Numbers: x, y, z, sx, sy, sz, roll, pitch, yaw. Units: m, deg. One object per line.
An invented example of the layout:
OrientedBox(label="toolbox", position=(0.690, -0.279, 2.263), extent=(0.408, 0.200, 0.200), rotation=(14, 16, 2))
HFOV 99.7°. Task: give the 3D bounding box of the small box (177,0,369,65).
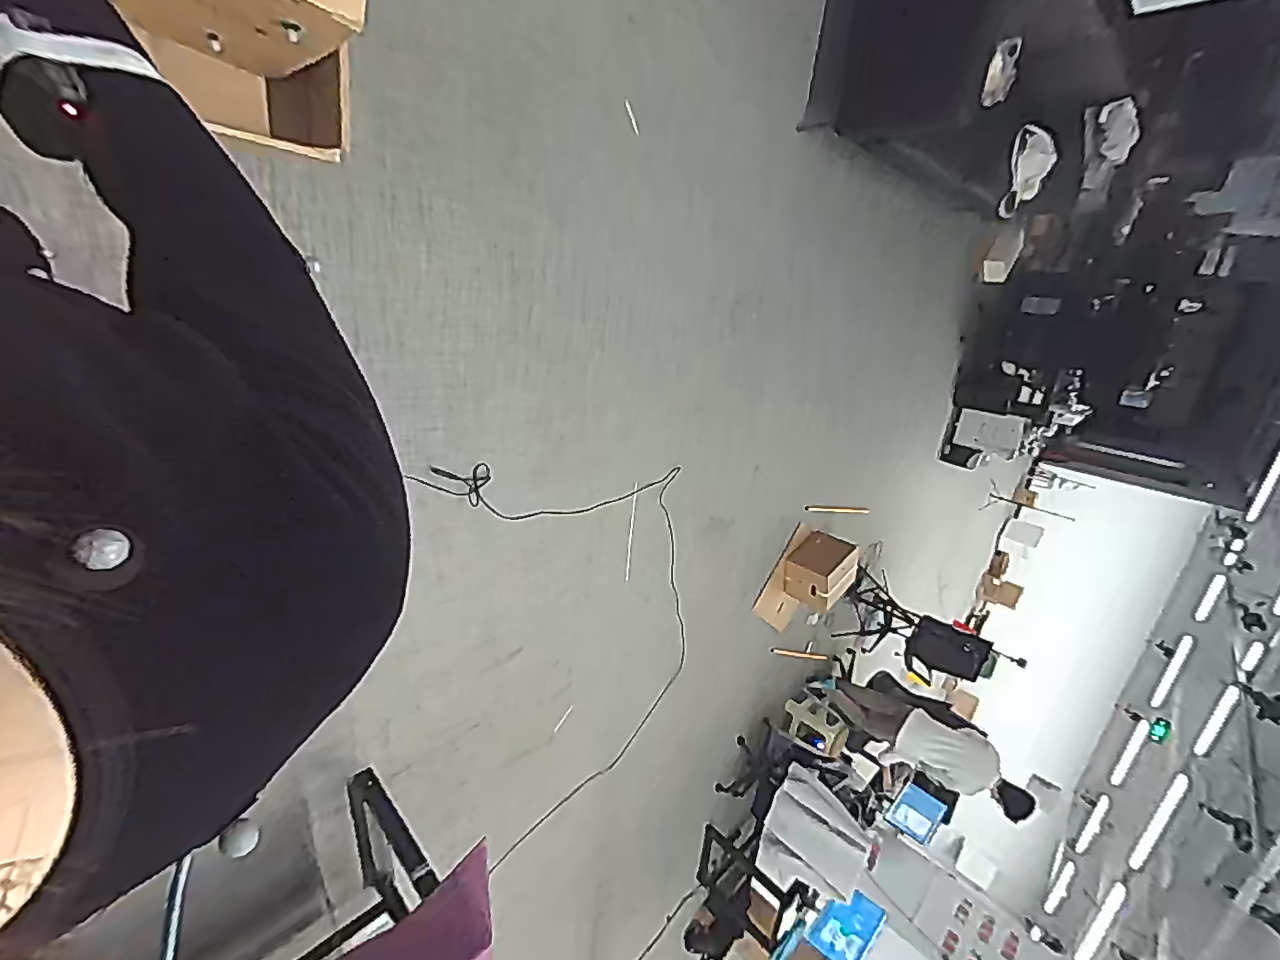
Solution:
OrientedBox(label="small box", position=(-0.384, -0.564, 0.544), extent=(0.168, 0.176, 0.179), rotation=(-3, 109, -47))
